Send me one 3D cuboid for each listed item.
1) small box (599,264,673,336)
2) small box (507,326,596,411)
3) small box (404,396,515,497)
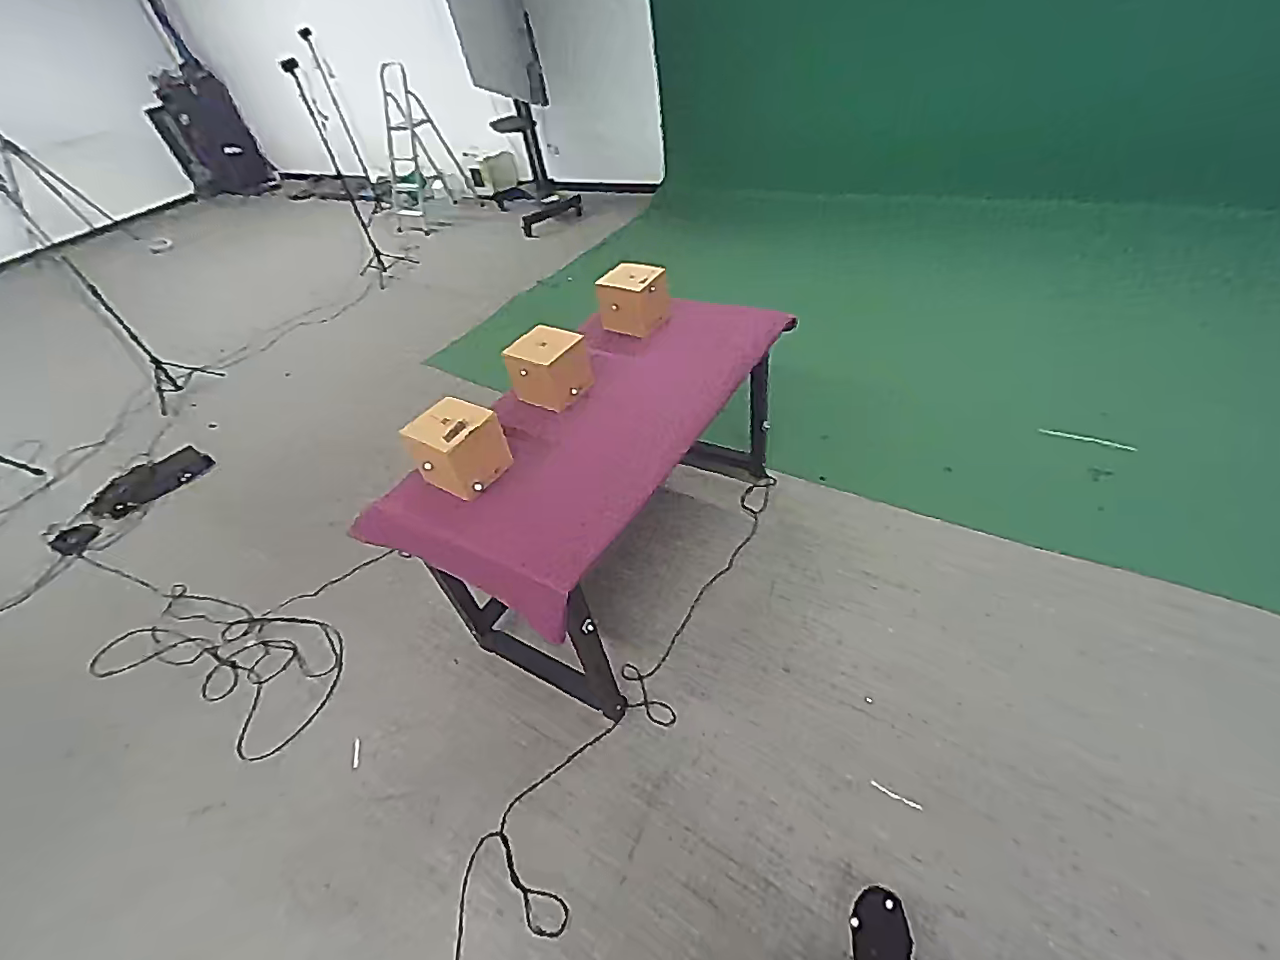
[{"bbox_3d":[-0.007,-0.600,1.810,0.179,0.176,0.168,20,53,29],"label":"small box"},{"bbox_3d":[-0.252,-0.323,1.577,0.179,0.176,0.168,22,53,29],"label":"small box"},{"bbox_3d":[-0.445,-0.081,1.361,0.179,0.176,0.168,20,51,28],"label":"small box"}]
